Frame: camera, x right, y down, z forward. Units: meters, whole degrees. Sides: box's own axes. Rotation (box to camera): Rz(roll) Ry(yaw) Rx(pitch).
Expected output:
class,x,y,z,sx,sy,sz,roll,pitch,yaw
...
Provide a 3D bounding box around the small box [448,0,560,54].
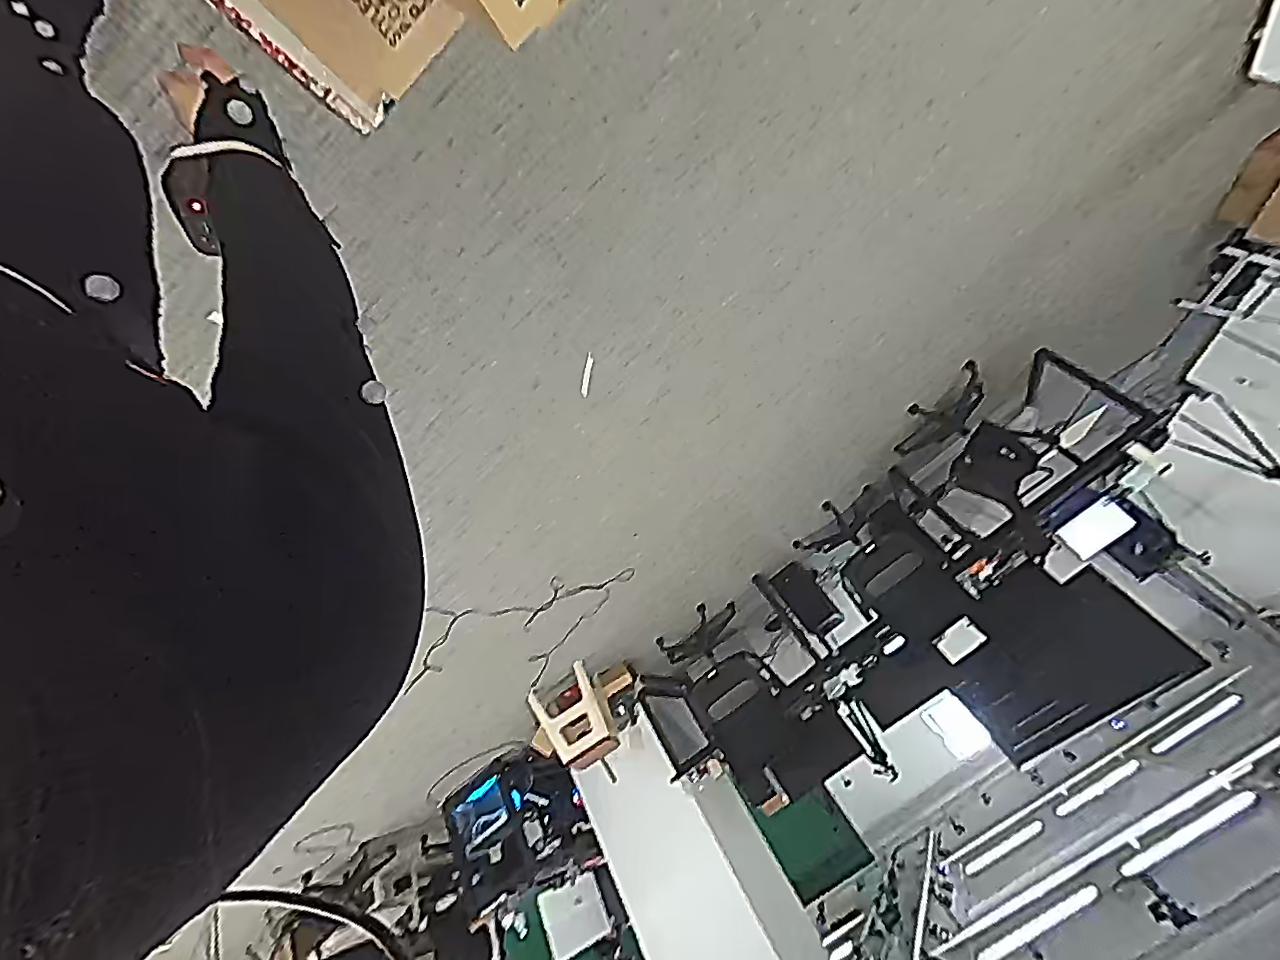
class,x,y,z,sx,sy,sz,roll,pitch,yaw
small box,-0.145,-0.543,0.480,0.168,0.176,0.179,-41,147,10
